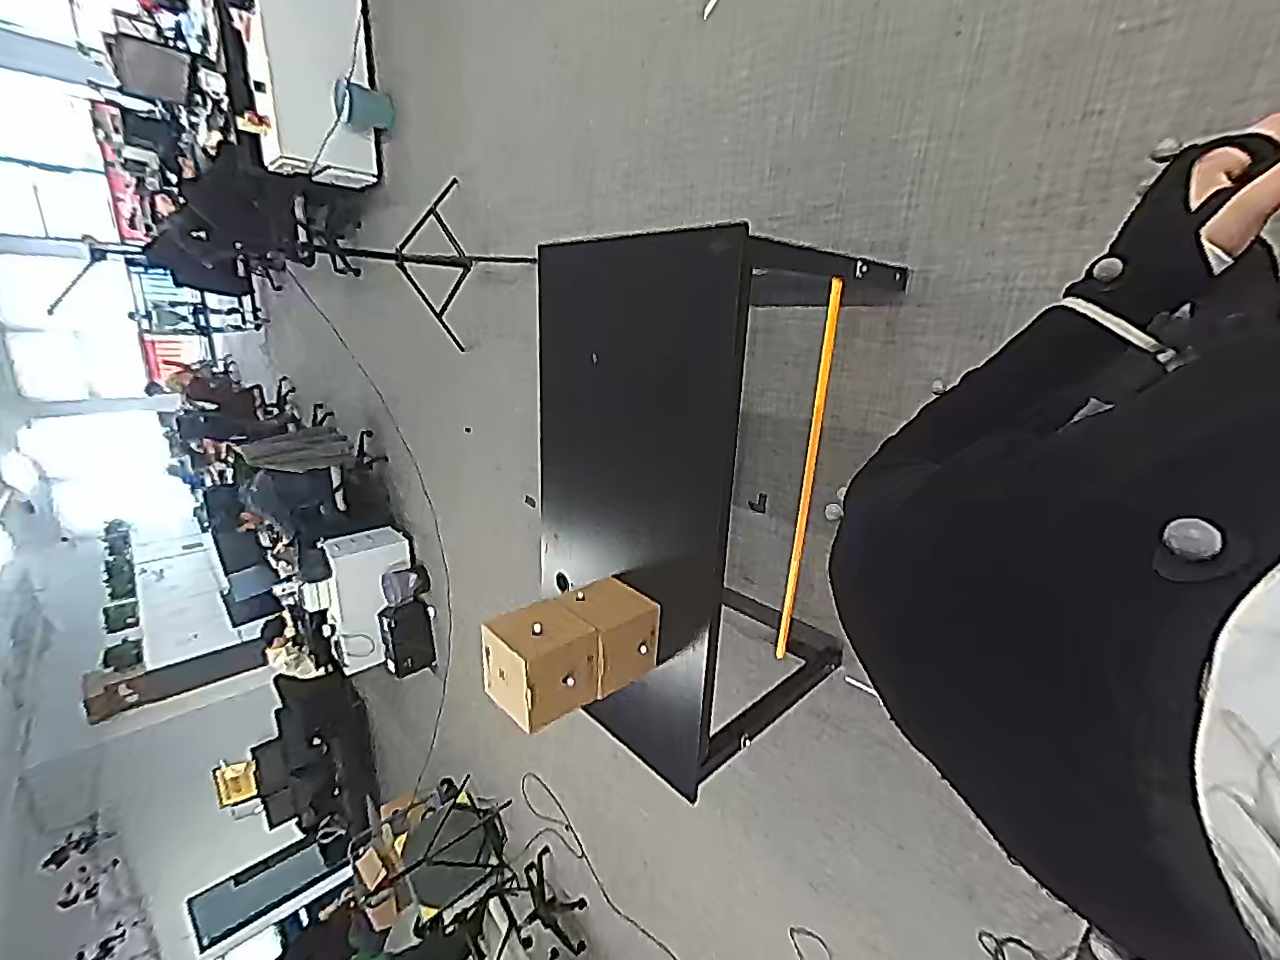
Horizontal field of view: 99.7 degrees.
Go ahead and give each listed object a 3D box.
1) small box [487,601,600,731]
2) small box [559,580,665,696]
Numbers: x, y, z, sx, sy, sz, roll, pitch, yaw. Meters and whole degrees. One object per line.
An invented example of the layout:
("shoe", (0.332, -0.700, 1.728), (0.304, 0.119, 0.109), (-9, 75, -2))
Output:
("small box", (-0.195, 0.369, 1.115), (0.179, 0.176, 0.168), (18, 112, 44))
("small box", (-0.068, 0.342, 1.216), (0.179, 0.176, 0.168), (21, 115, 43))
